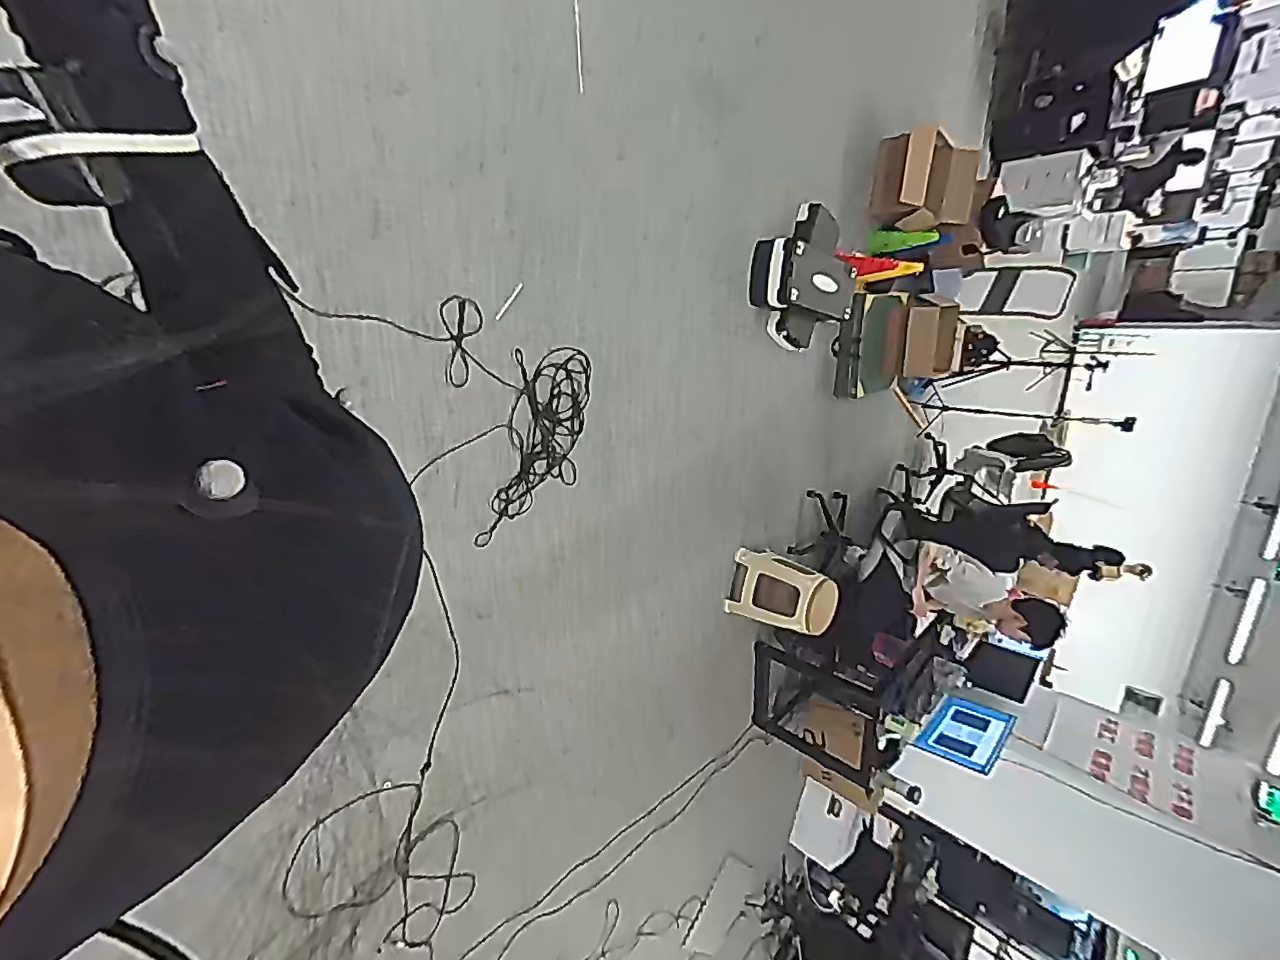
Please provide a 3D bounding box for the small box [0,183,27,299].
[{"bbox_3d":[-1.114,-0.411,0.847,0.168,0.176,0.179,0,112,-61],"label":"small box"}]
